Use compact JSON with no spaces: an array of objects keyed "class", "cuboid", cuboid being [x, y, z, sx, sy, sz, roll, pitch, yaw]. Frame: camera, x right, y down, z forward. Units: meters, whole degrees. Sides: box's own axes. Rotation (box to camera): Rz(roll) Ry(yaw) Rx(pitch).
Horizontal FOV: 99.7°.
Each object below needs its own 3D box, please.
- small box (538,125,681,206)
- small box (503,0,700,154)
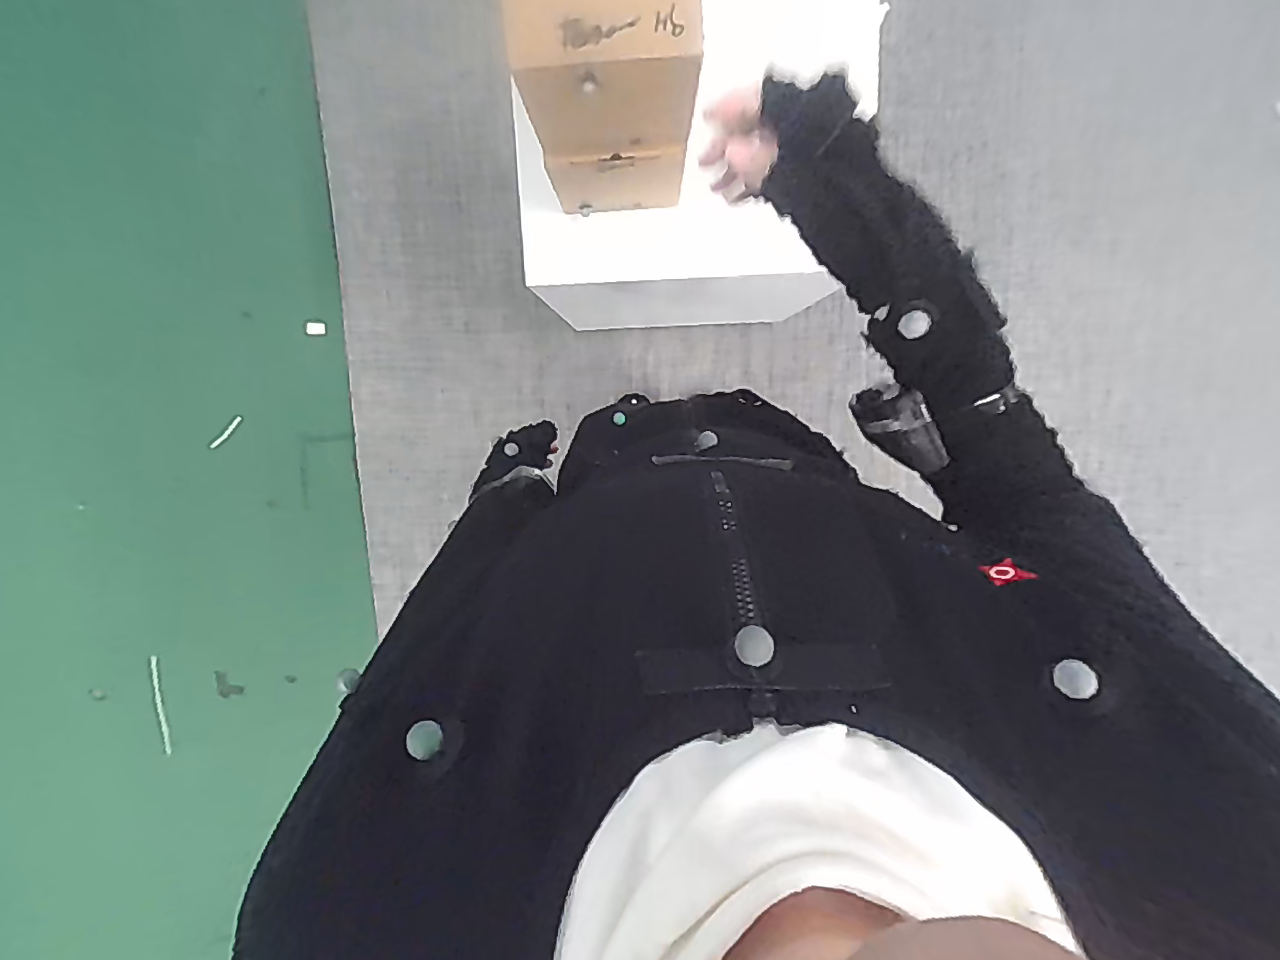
[{"class":"small box","cuboid":[-0.035,-0.463,0.685,0.168,0.176,0.179,-3,98,1]},{"class":"small box","cuboid":[-0.034,-0.449,0.522,0.168,0.176,0.179,-3,98,2]}]
